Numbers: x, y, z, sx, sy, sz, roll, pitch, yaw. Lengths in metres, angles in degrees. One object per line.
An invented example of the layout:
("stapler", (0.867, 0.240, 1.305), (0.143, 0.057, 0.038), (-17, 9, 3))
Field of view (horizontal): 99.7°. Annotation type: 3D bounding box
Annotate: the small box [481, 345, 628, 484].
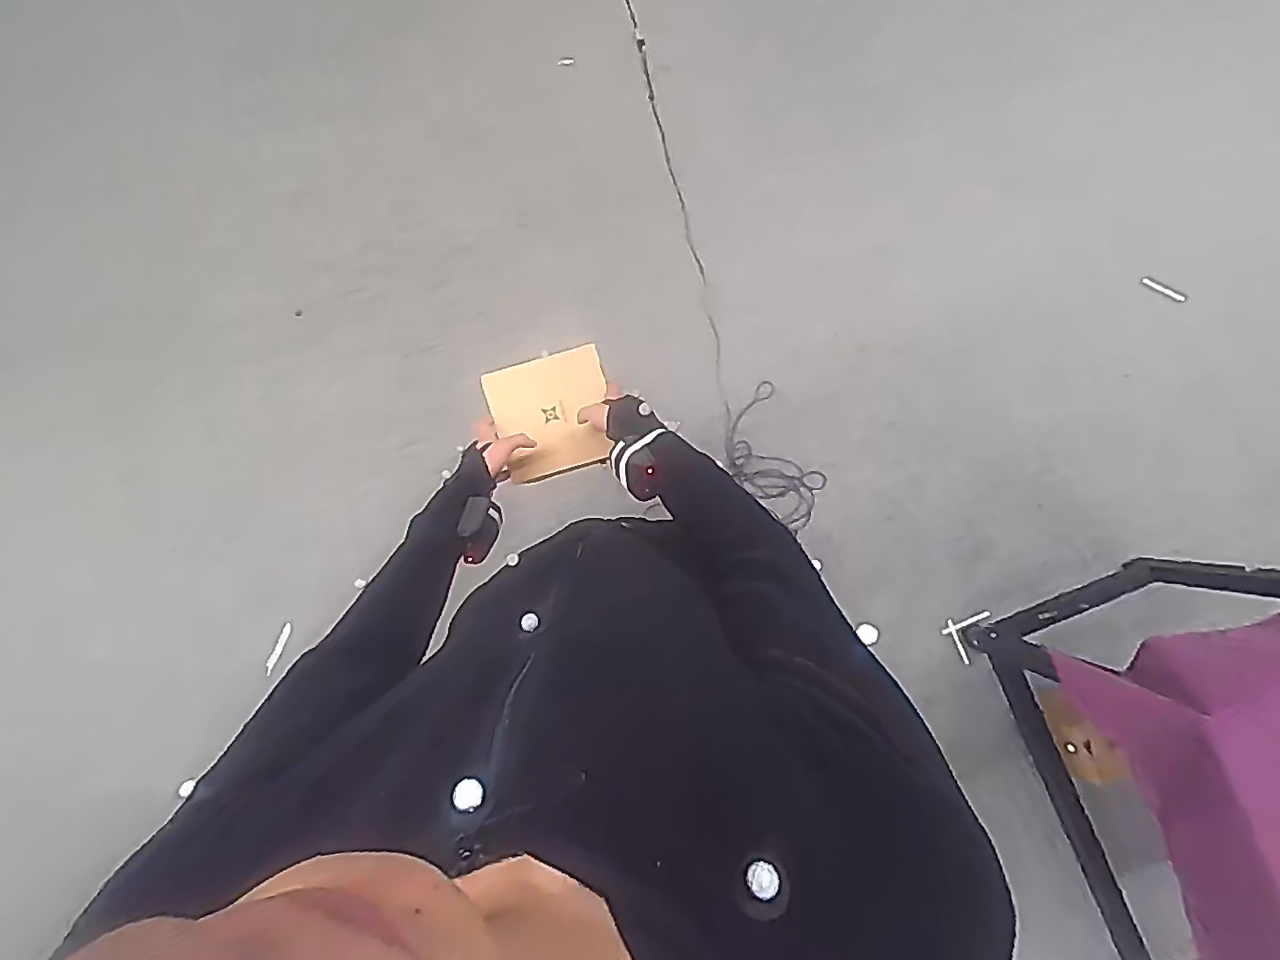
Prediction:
("small box", (-0.124, -0.095, 0.856), (0.179, 0.176, 0.168), (-17, 92, 0))
